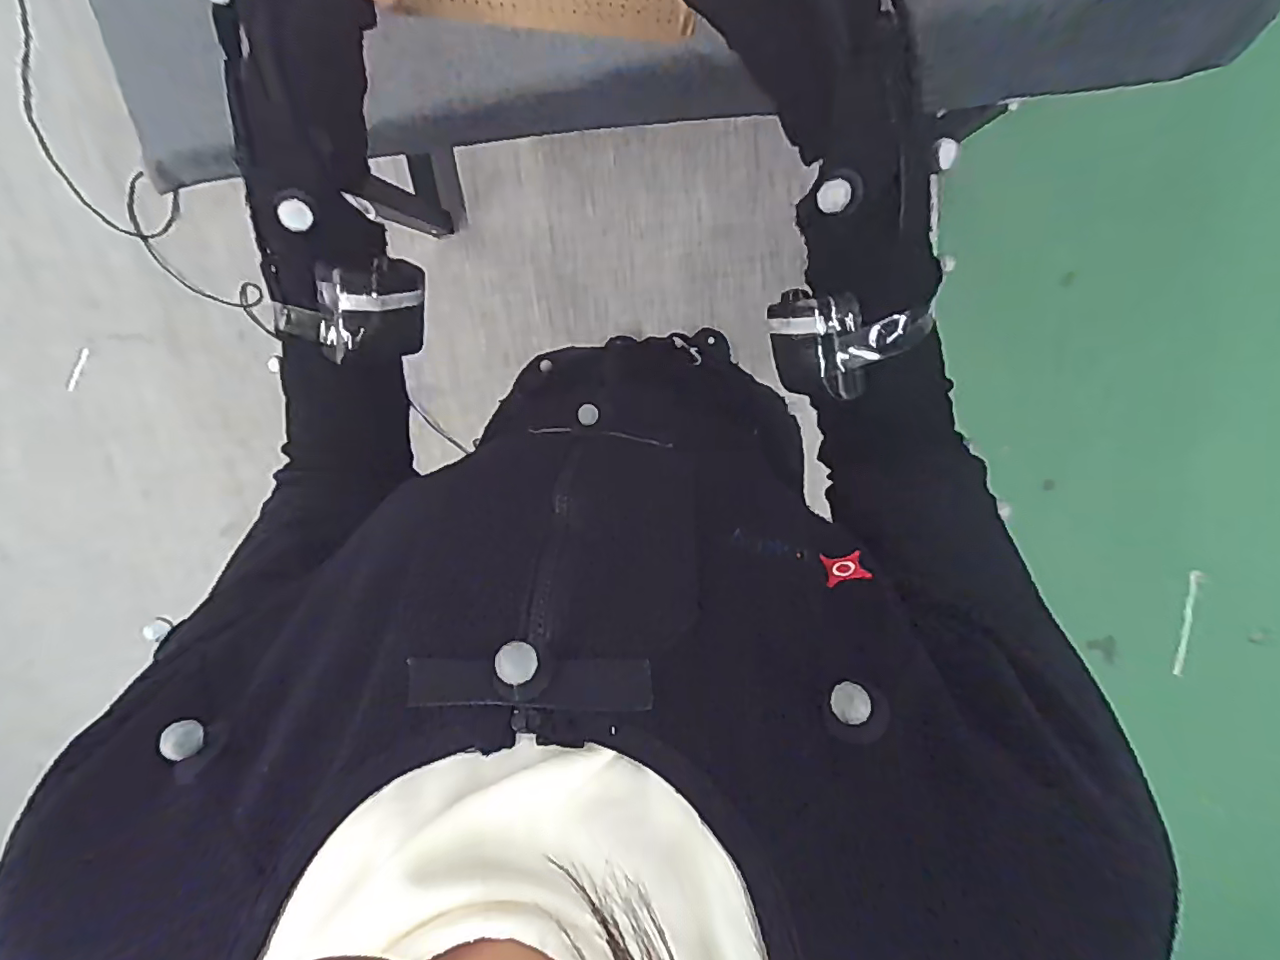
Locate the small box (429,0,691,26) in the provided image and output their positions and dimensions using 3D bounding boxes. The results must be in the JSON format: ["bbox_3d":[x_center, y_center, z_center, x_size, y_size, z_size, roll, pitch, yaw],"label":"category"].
[{"bbox_3d":[-0.052,-0.334,0.220,0.179,0.176,0.168,2,93,-4],"label":"small box"}]
